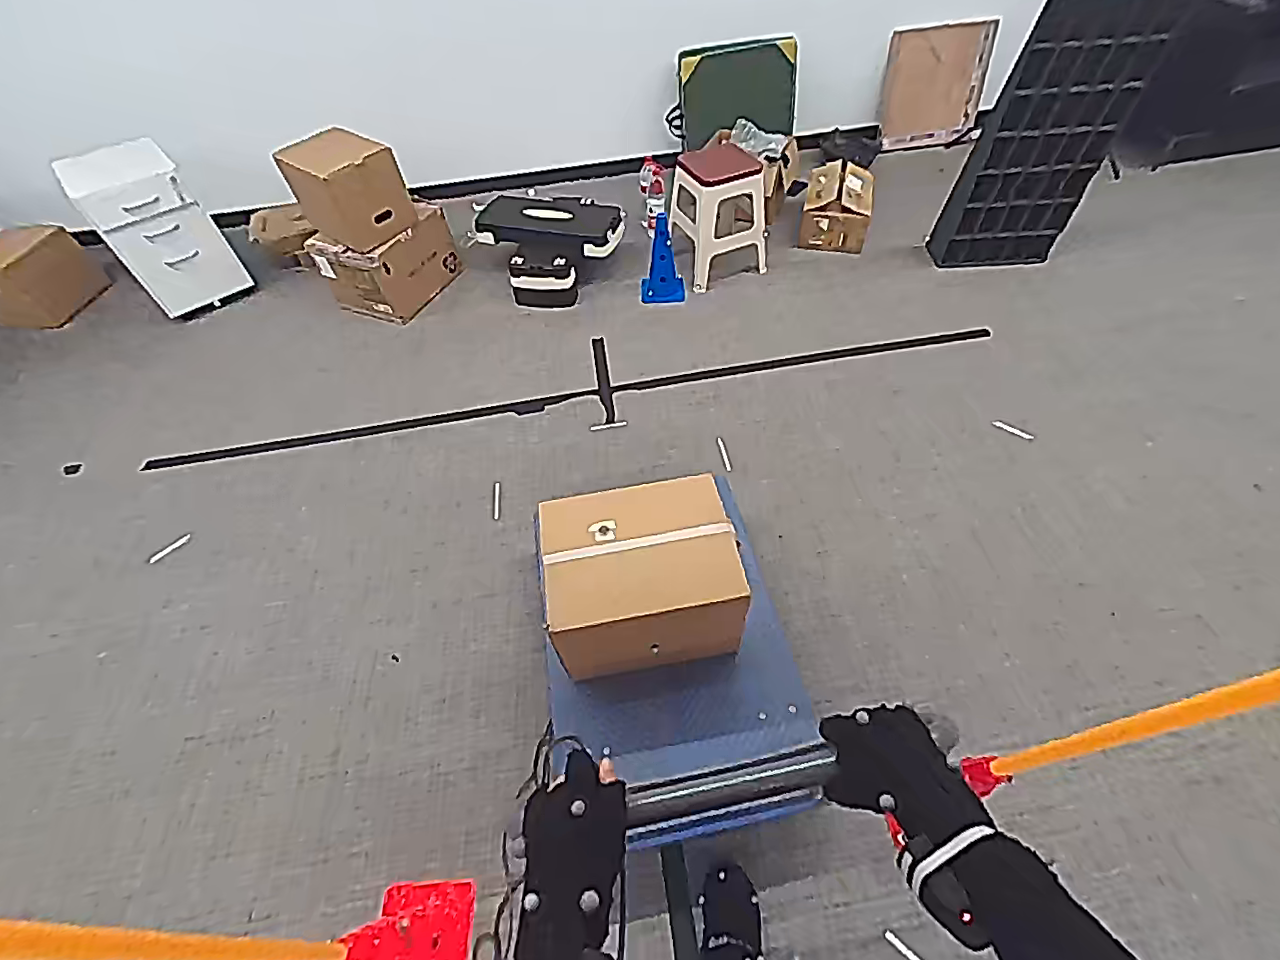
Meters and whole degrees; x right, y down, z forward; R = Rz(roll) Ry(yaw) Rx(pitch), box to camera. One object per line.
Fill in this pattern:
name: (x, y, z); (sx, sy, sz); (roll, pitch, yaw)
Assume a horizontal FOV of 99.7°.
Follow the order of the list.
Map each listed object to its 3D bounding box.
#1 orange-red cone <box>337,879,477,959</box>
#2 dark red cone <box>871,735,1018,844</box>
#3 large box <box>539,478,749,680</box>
orange-red cone: (-0.459, 0.850, 0.999); (0.198, 0.360, 0.199); (-2, 50, 1)
dark red cone: (0.642, 0.594, 1.091); (0.201, 0.394, 0.202); (-8, 52, -4)
large box: (0.005, 0.236, 1.259); (0.408, 0.320, 0.320); (-10, 53, -3)
